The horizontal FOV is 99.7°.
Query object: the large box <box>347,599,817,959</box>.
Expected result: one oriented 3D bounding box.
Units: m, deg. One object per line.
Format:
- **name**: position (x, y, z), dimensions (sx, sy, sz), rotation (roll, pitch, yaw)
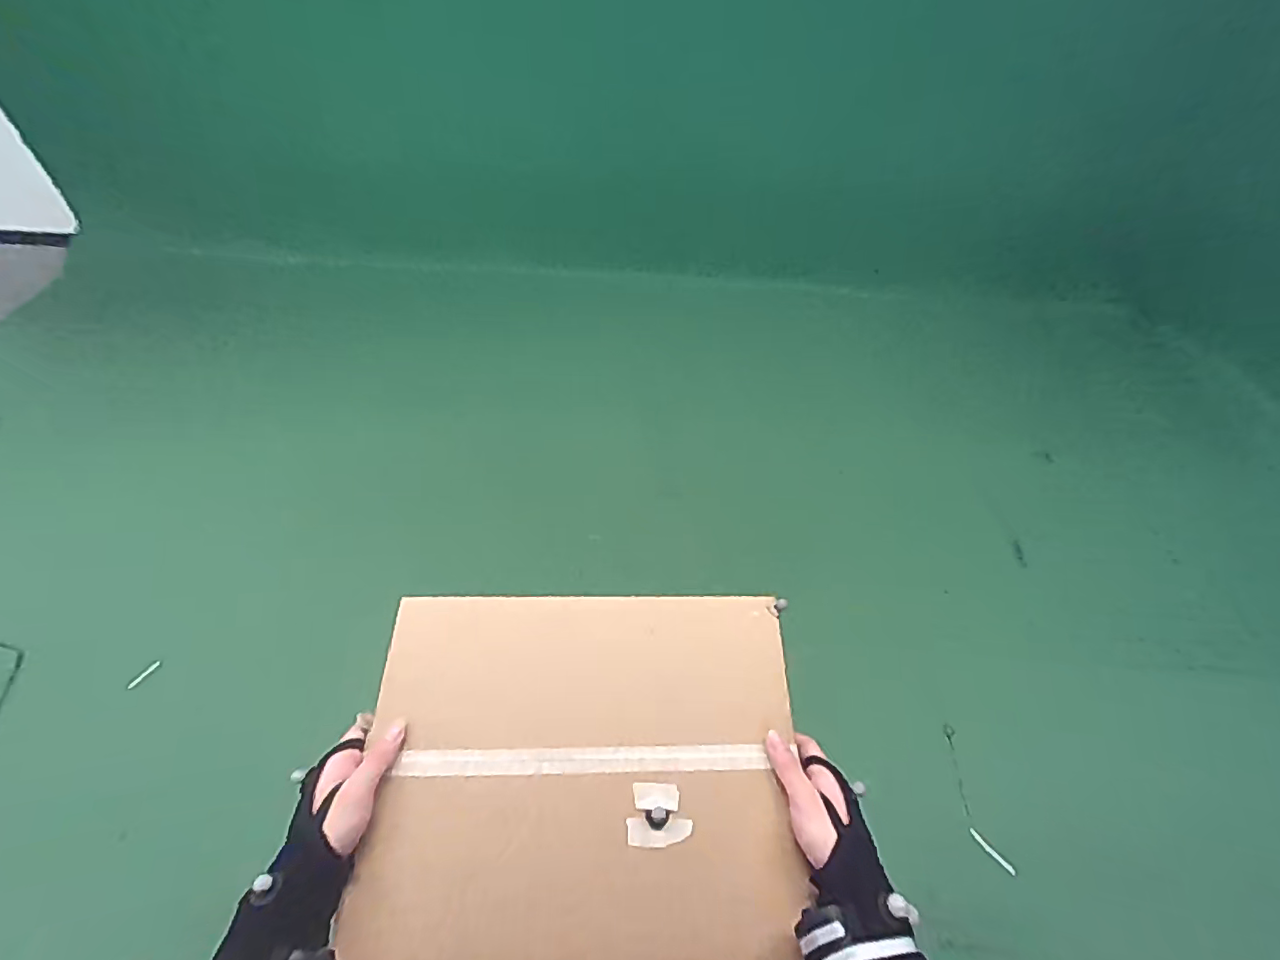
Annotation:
- **large box**: position (-0.058, 0.343, 0.654), dimensions (0.408, 0.320, 0.320), rotation (1, 60, -3)
